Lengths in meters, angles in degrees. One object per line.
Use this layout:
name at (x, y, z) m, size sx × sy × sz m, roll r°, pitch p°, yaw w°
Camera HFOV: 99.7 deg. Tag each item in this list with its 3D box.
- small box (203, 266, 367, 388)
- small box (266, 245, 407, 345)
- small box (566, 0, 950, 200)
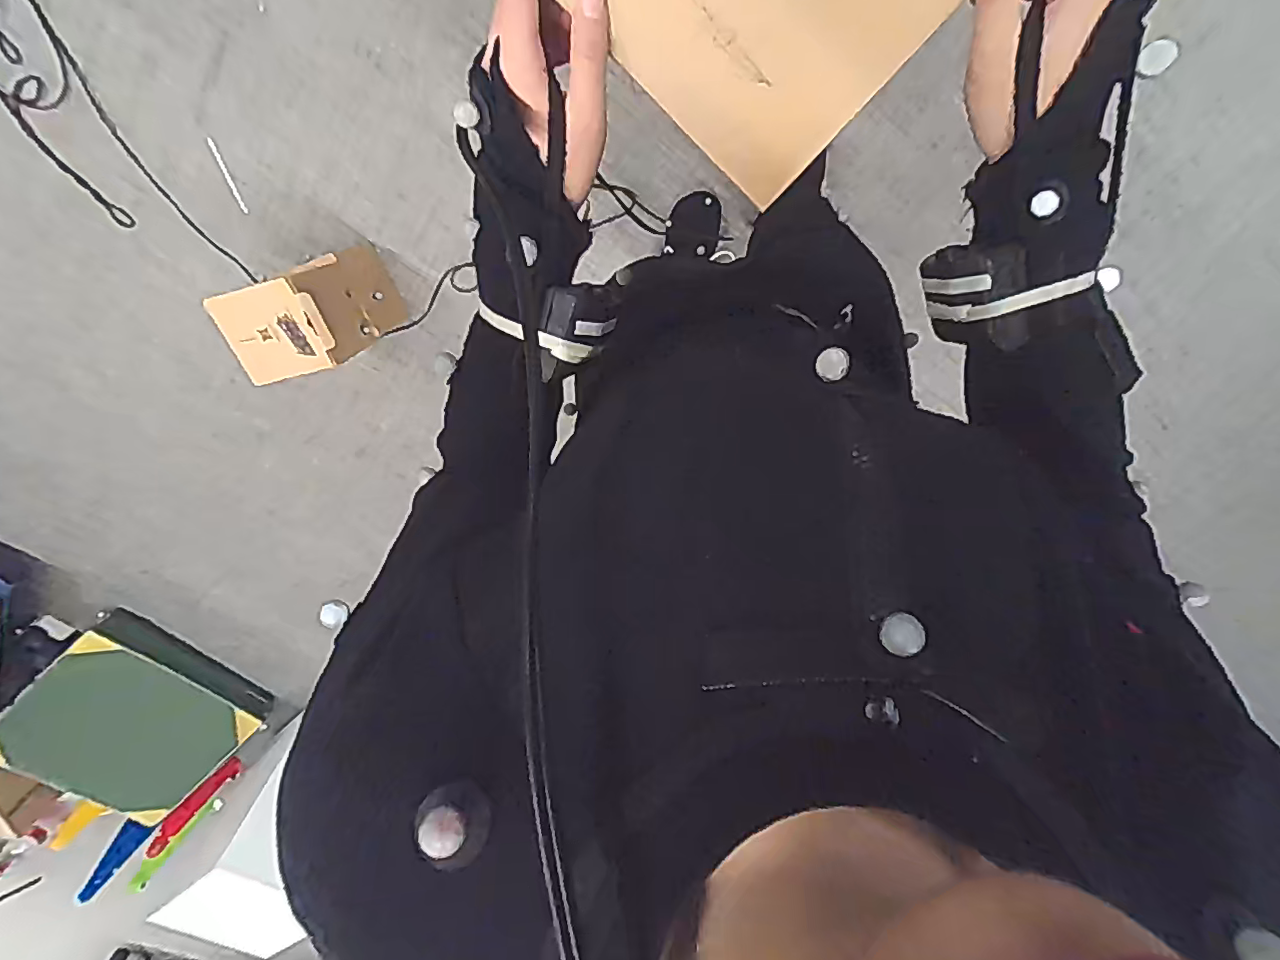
small box at (-0.659, -0.298, 1.036) m, size 0.179 × 0.176 × 0.168 m, roll -11°, pitch 119°, yaw 9°
small box at (-0.644, -0.387, 1.175) m, size 0.168 × 0.176 × 0.179 m, roll -15°, pitch 119°, yaw 11°
small box at (0.071, -0.309, 0.308) m, size 0.168 × 0.176 × 0.179 m, roll 33°, pitch 126°, yaw -22°
